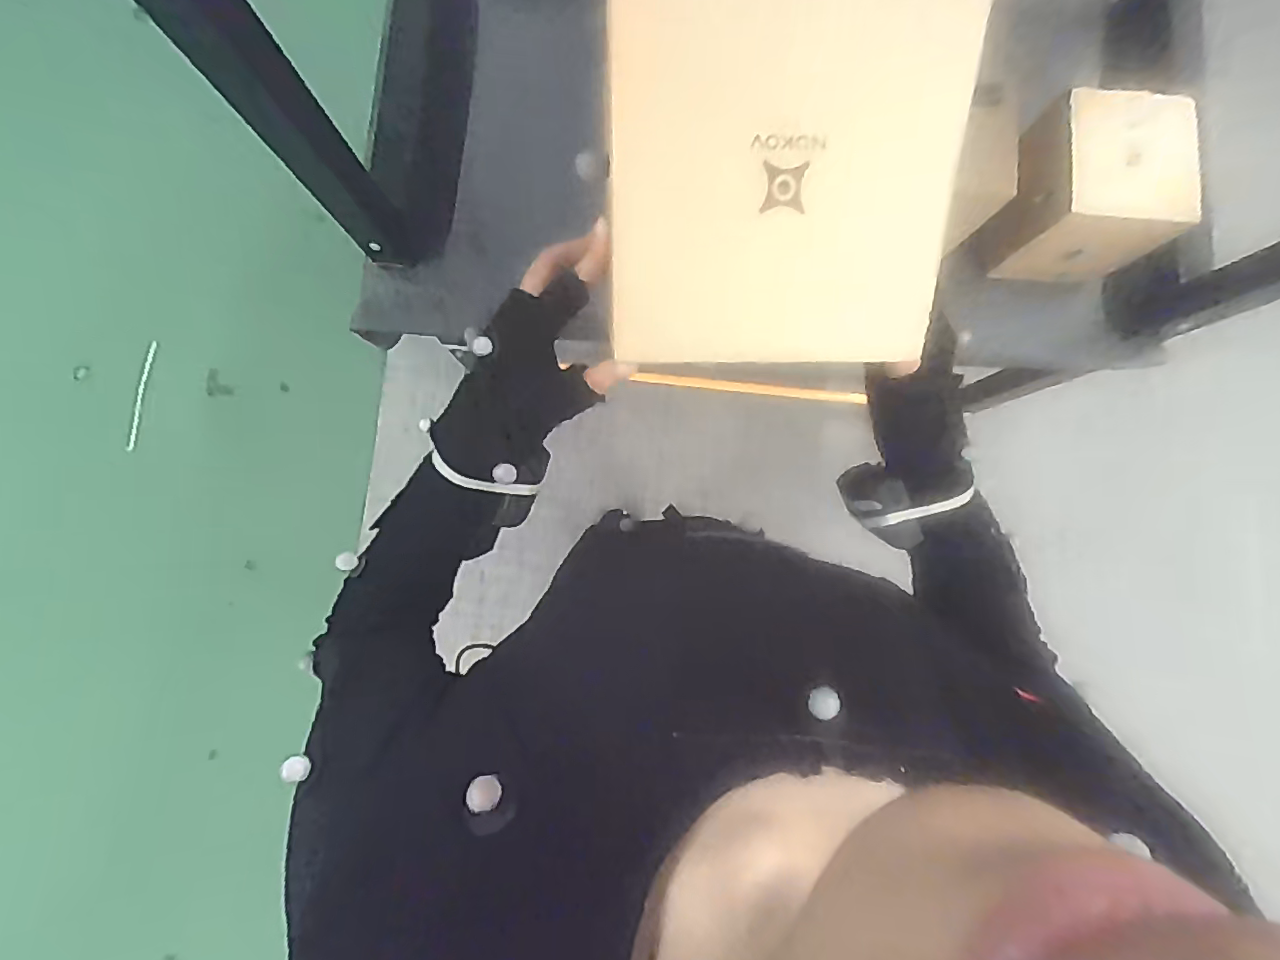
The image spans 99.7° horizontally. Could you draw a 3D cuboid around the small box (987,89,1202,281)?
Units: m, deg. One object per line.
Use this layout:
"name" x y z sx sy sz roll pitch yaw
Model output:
"small box" 0.621 -0.400 0.760 0.168 0.176 0.179 3 83 -1
